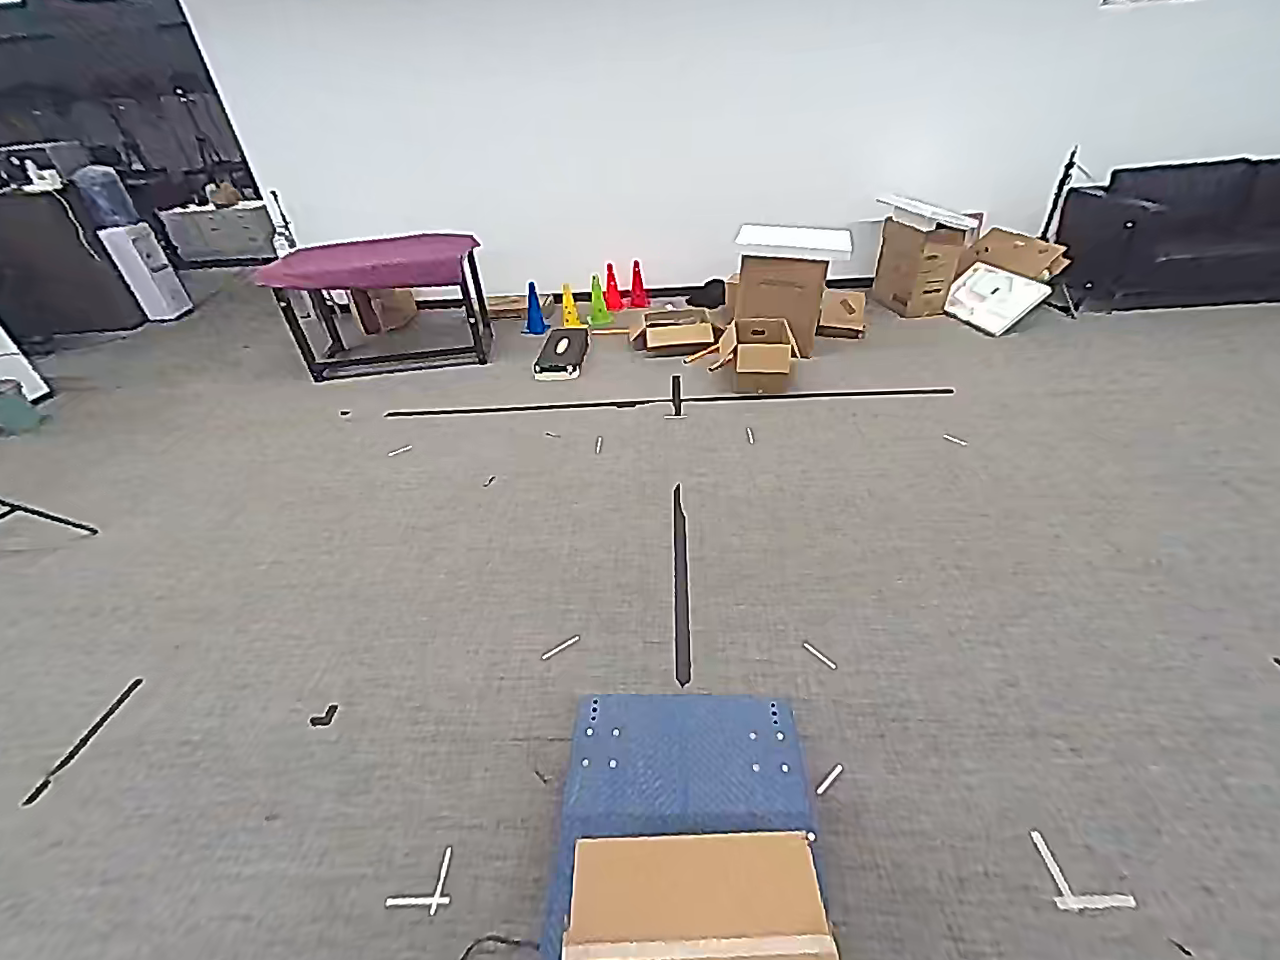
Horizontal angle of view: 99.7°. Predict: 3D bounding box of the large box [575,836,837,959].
[{"bbox_3d":[0.102,0.842,0.906,0.408,0.320,0.320,-3,36,0],"label":"large box"}]
